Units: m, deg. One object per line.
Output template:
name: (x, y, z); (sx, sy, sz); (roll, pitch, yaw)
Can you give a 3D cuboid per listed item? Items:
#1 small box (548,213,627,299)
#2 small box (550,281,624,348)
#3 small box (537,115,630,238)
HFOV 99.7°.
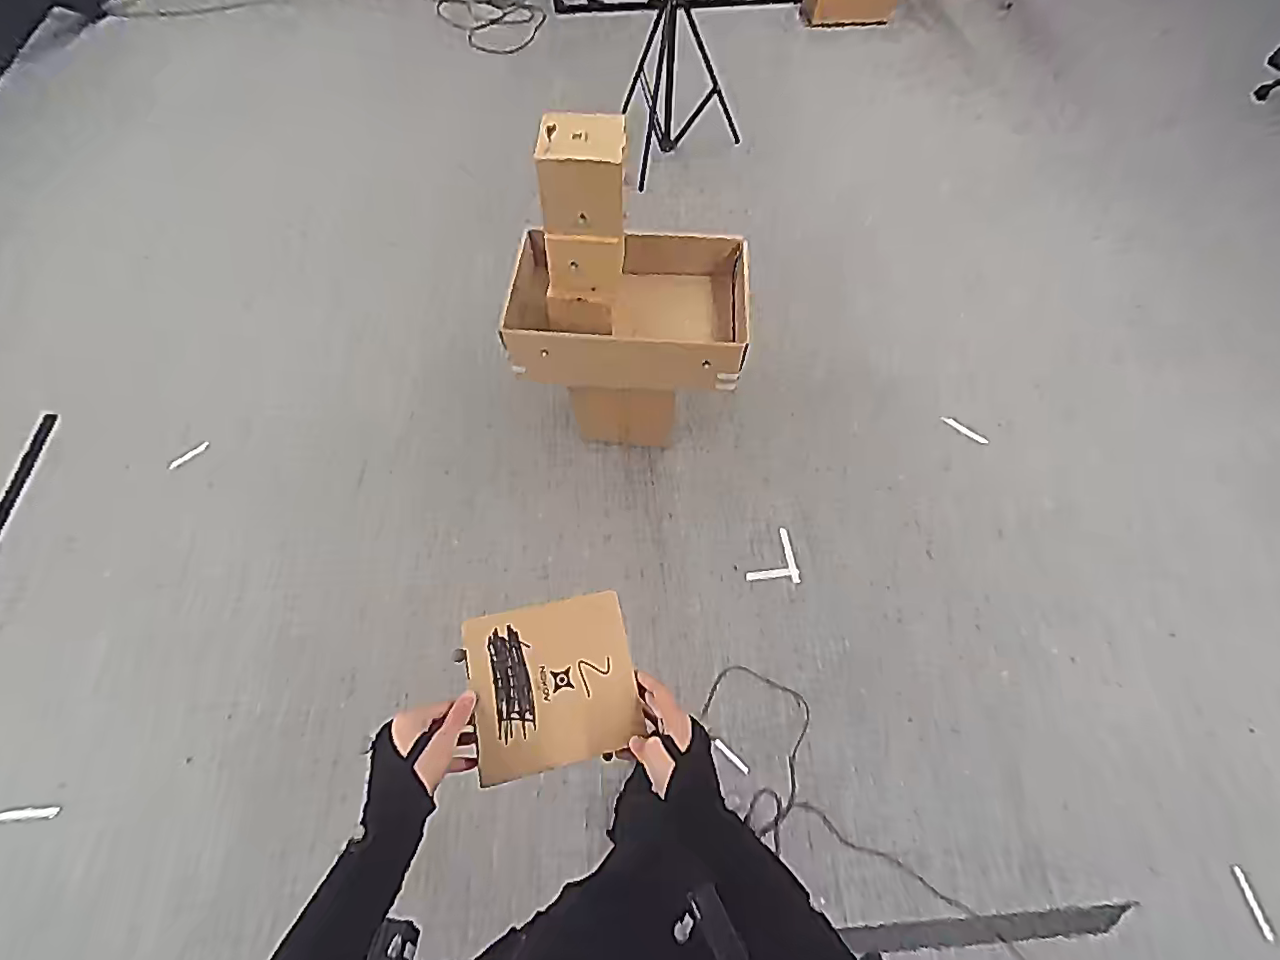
small box: (-0.119, -0.560, 1.302); (0.168, 0.176, 0.179); (4, 61, 0)
small box: (-0.133, -0.475, 1.440); (0.168, 0.176, 0.179); (7, 61, 2)
small box: (-0.114, -0.646, 1.162); (0.179, 0.176, 0.168); (3, 61, -1)
